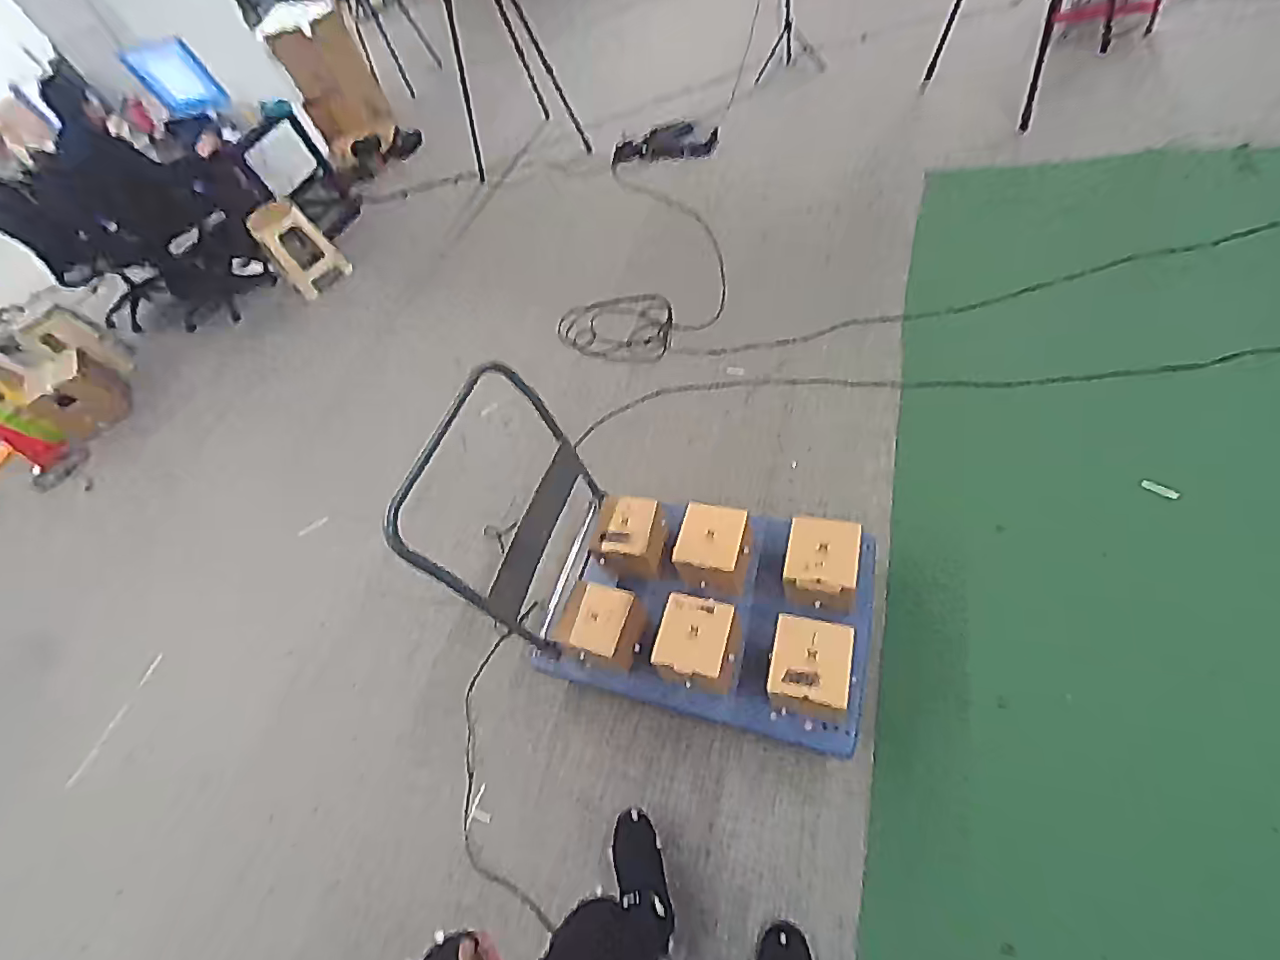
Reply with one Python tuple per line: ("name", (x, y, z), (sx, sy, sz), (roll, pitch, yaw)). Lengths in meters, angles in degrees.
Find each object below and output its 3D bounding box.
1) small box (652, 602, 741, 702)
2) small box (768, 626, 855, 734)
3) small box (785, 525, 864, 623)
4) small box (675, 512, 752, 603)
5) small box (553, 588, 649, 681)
("small box", (0.147, 0.428, 1.334), (0.168, 0.176, 0.179), (8, 59, 22))
("small box", (0.399, 0.465, 1.249), (0.168, 0.176, 0.179), (7, 57, 21))
("small box", (0.466, 0.238, 1.370), (0.168, 0.176, 0.179), (6, 57, 23))
("small box", (0.208, 0.212, 1.475), (0.168, 0.176, 0.179), (8, 60, 22))
("small box", (-0.096, 0.410, 1.425), (0.179, 0.176, 0.168), (10, 59, 22))
